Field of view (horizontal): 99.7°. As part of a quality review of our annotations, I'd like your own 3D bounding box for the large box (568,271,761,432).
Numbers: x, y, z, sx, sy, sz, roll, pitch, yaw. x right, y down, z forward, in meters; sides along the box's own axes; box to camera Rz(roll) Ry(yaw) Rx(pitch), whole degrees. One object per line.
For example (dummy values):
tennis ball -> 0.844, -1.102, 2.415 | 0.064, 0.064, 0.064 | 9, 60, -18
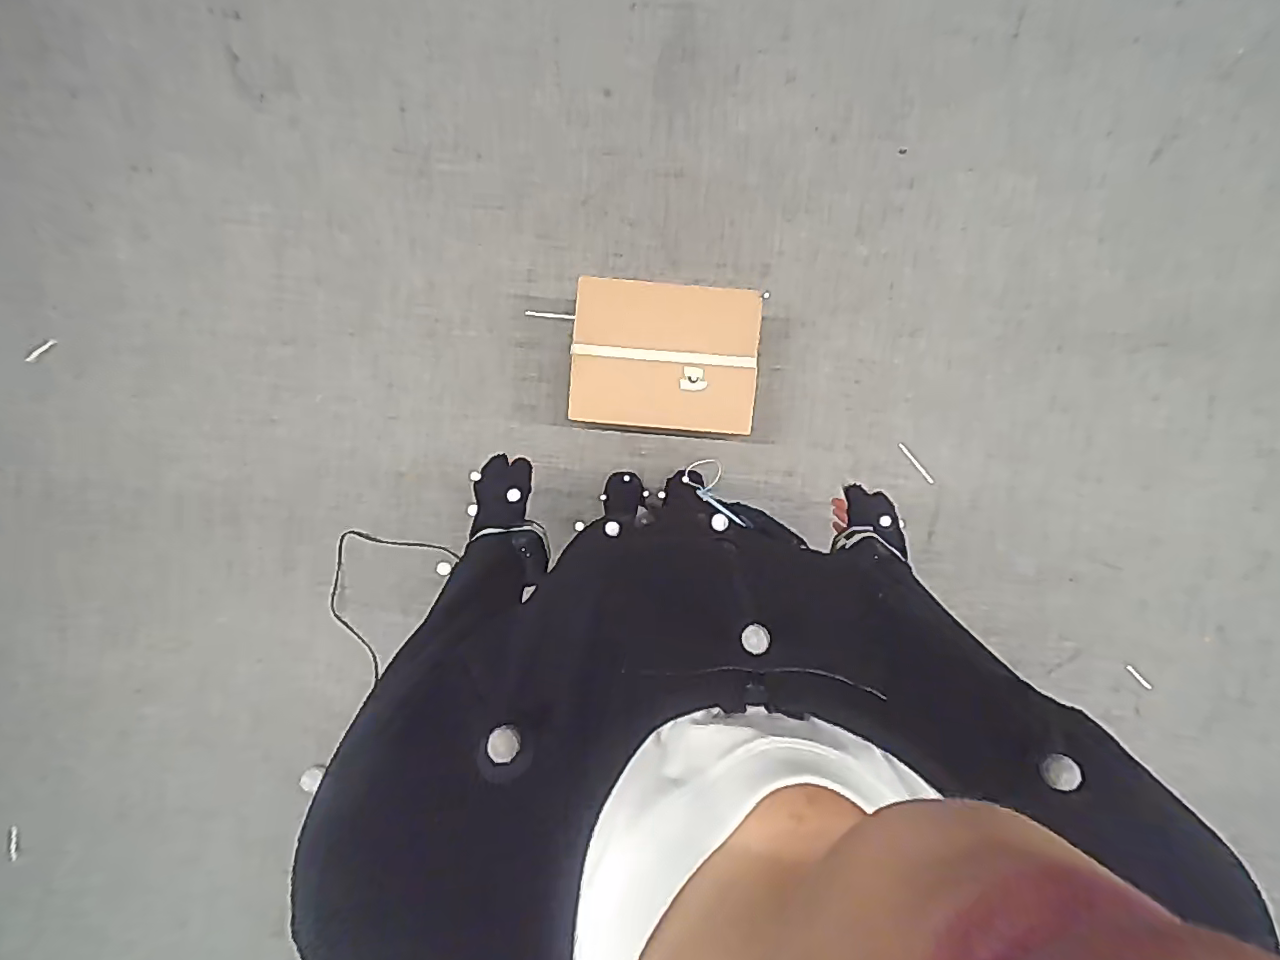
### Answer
large box -> 0.049, -0.291, 1.318 | 0.408, 0.320, 0.320 | 5, 94, -1
